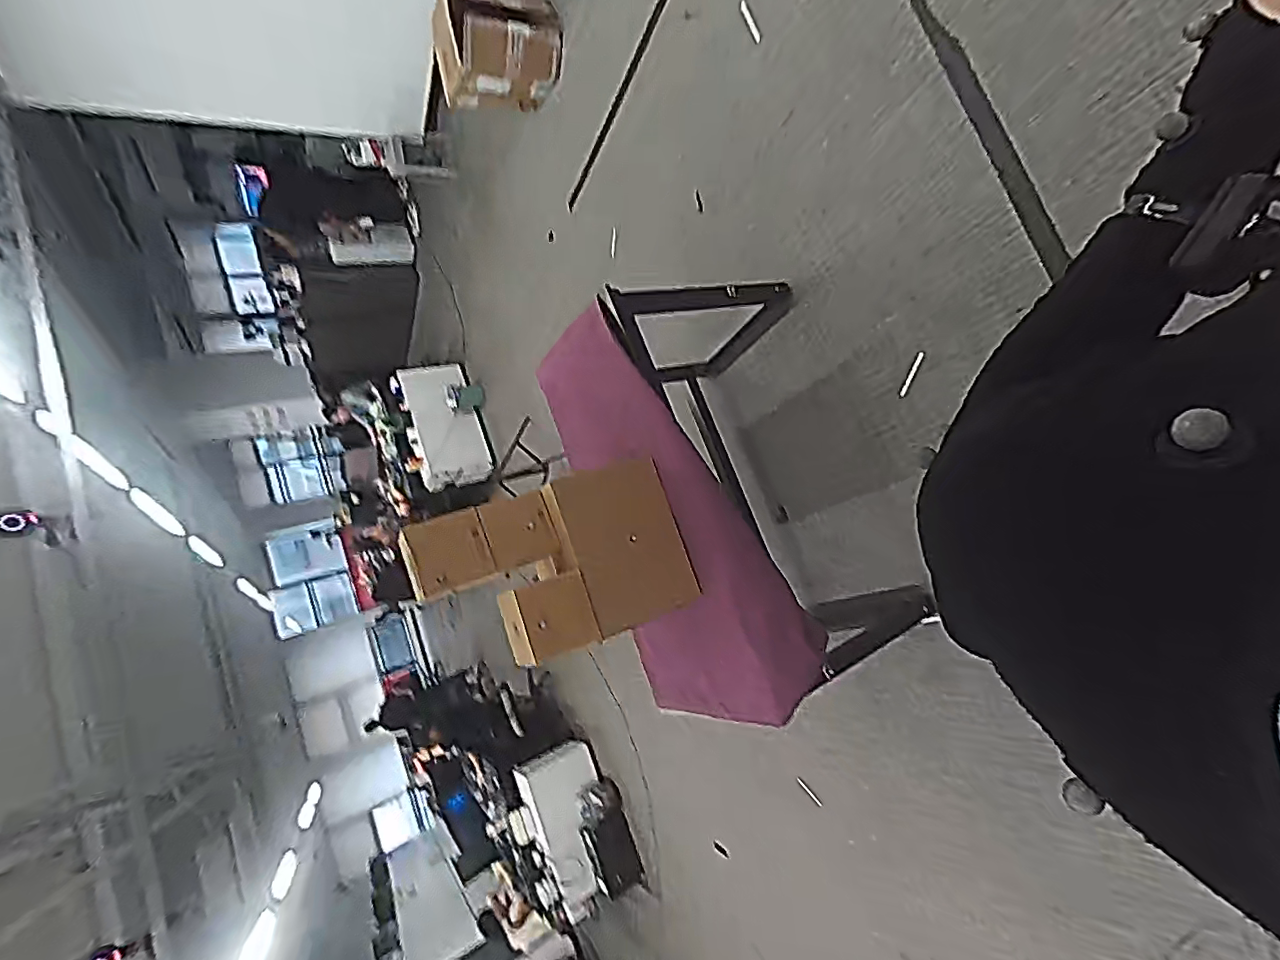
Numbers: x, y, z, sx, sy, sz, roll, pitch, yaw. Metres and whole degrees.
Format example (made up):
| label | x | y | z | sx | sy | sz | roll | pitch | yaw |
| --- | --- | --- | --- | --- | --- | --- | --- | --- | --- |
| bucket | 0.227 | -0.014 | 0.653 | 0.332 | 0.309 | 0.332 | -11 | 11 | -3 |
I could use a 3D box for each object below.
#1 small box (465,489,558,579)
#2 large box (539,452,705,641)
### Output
| label | x | y | z | sx | sy | sz | roll | pitch | yaw |
| --- | --- | --- | --- | --- | --- | --- | --- | --- | --- |
| small box | -0.327 | 0.138 | 1.373 | 0.179 | 0.176 | 0.168 | -33 | 77 | 59 |
| large box | -0.085 | 0.185 | 1.484 | 0.320 | 0.320 | 0.408 | -34 | 75 | 60 |
